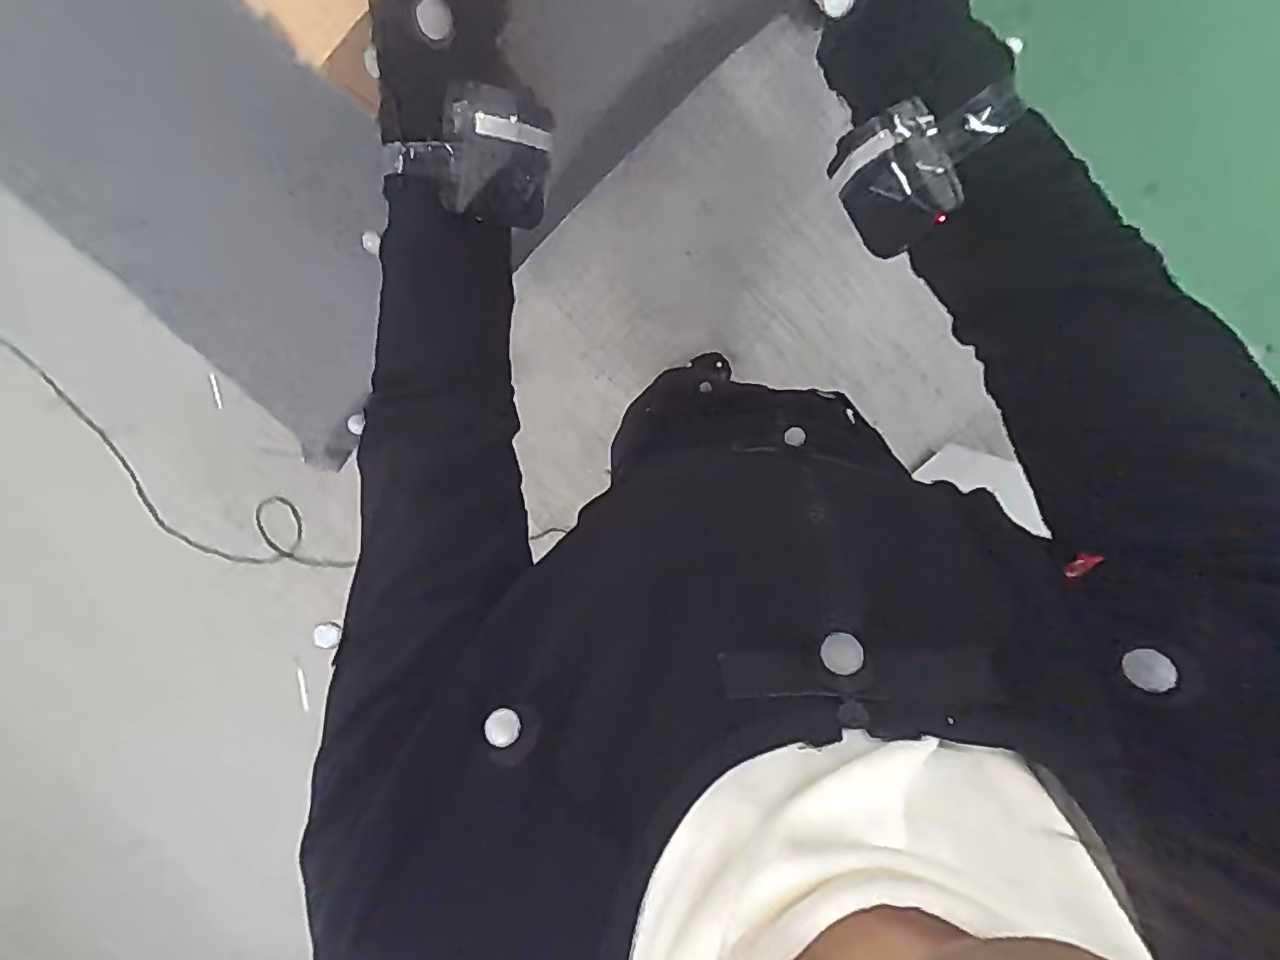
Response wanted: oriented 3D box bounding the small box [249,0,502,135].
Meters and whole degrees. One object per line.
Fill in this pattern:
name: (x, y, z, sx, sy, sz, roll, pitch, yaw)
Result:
small box: (-0.262, -0.480, 0.514, 0.179, 0.176, 0.168, -40, 98, 11)
